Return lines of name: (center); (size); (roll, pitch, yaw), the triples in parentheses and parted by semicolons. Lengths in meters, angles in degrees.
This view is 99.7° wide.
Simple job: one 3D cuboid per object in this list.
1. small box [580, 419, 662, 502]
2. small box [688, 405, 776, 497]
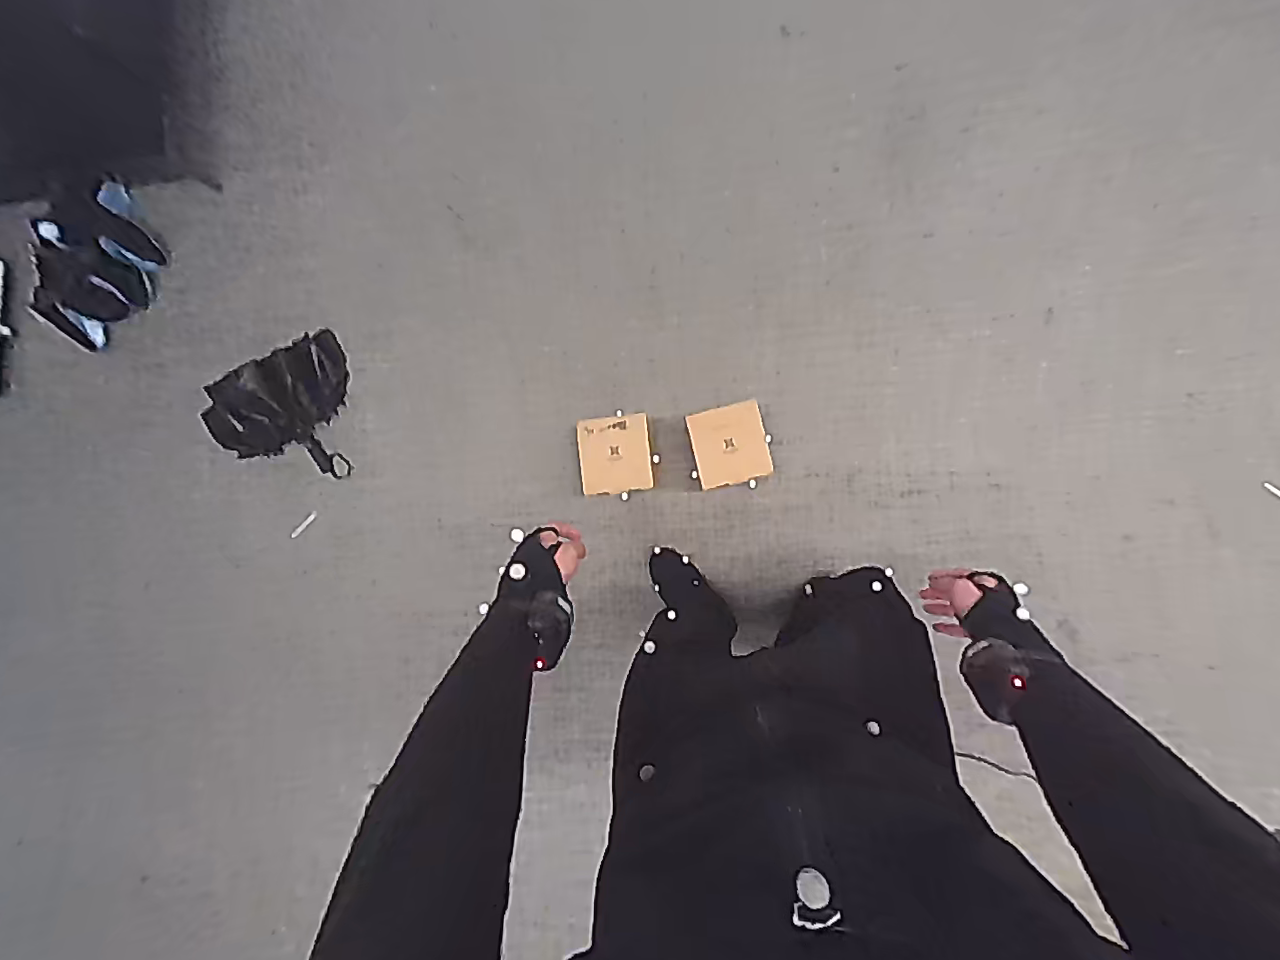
small box: (-0.041, -0.043, 1.308); (0.168, 0.176, 0.179); (-6, 87, 7)
small box: (0.214, -0.061, 1.278); (0.168, 0.176, 0.179); (-14, 84, 5)
